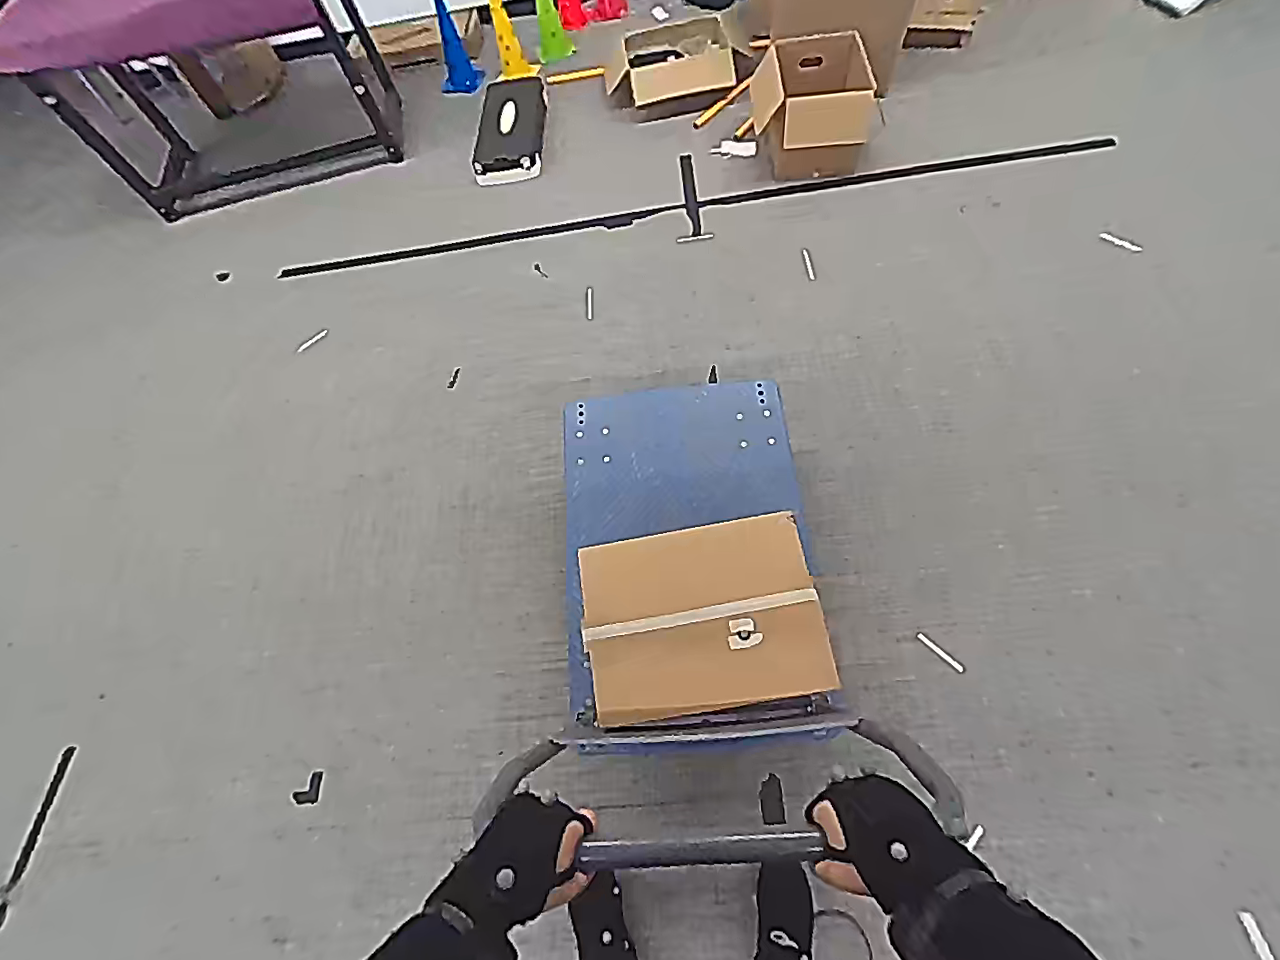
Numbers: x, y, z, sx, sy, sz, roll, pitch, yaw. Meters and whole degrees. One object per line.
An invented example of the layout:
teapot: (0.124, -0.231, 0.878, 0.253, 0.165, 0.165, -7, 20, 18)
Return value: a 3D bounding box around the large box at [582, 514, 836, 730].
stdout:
large box: (0.122, 0.297, 1.096, 0.408, 0.320, 0.320, -11, 68, 1)
